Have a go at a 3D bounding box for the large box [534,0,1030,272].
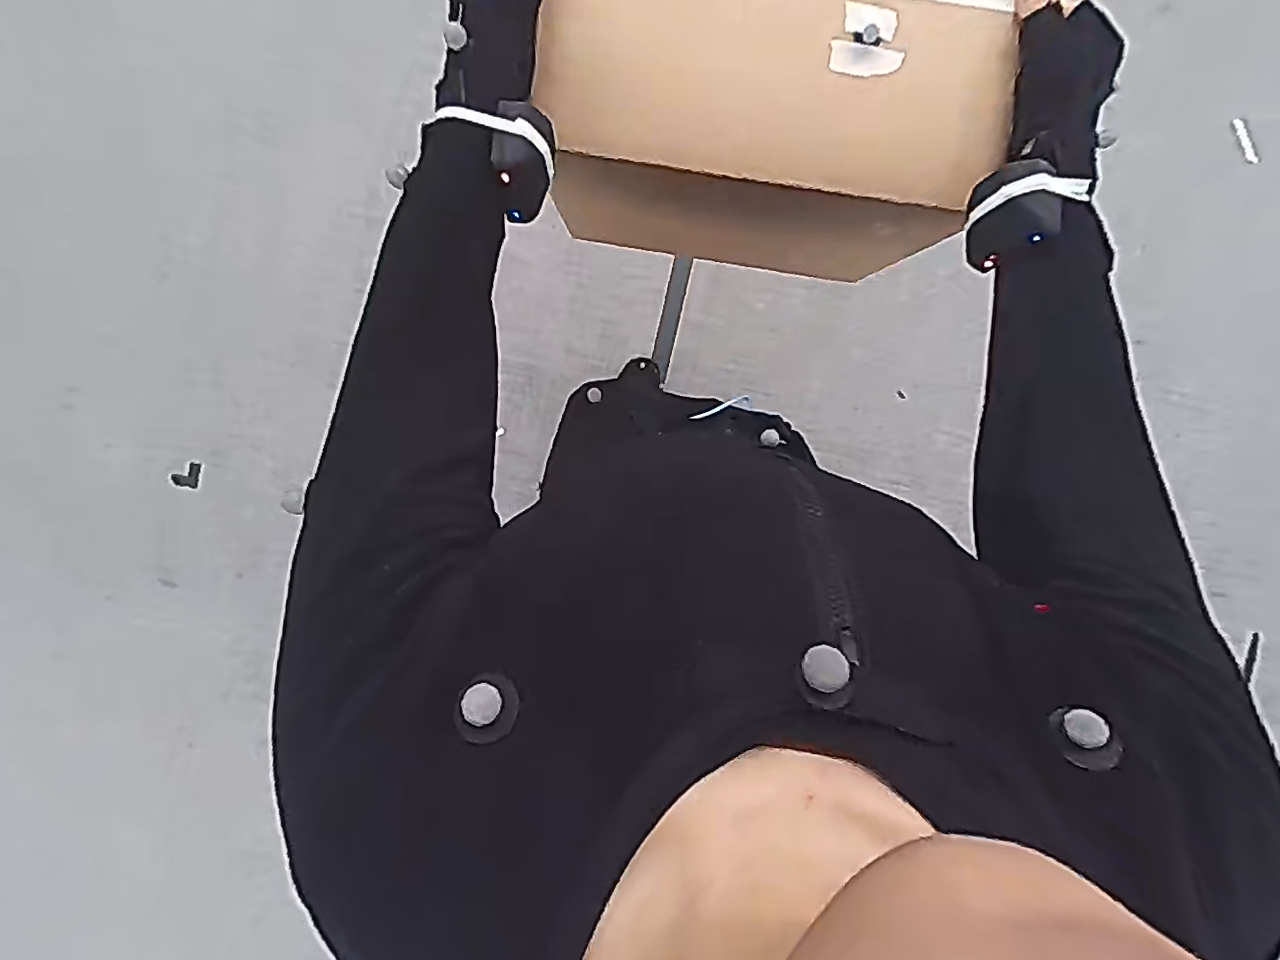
[{"bbox_3d":[0.122,-0.440,0.586,0.408,0.320,0.320,8,101,-2],"label":"large box"}]
